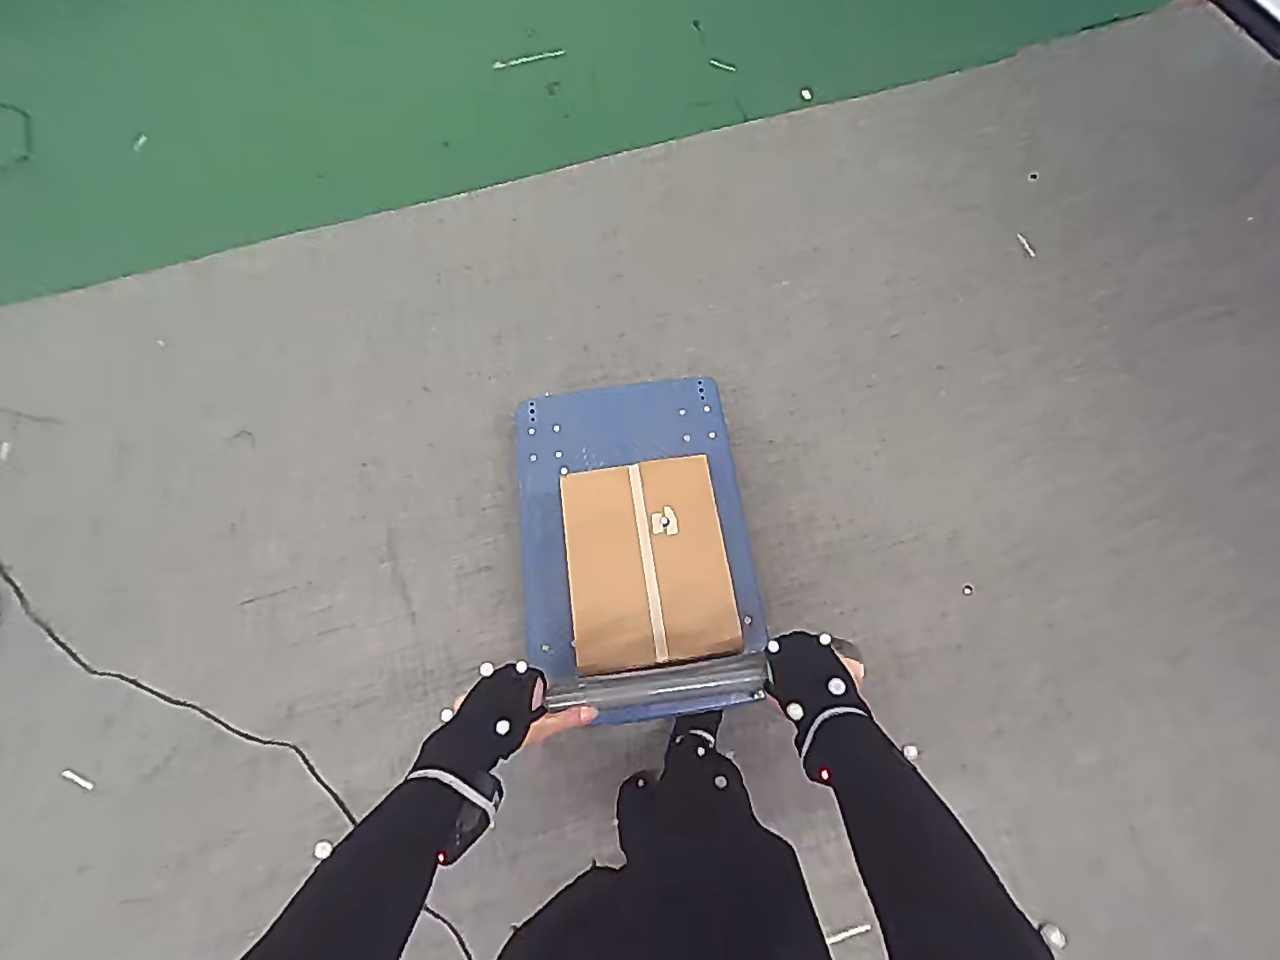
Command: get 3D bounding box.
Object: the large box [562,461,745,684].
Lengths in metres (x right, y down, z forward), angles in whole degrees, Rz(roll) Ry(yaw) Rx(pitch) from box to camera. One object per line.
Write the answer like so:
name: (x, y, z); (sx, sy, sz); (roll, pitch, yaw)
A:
large box: (0.021, 0.219, 1.204); (0.320, 0.320, 0.408); (-8, 68, -2)
